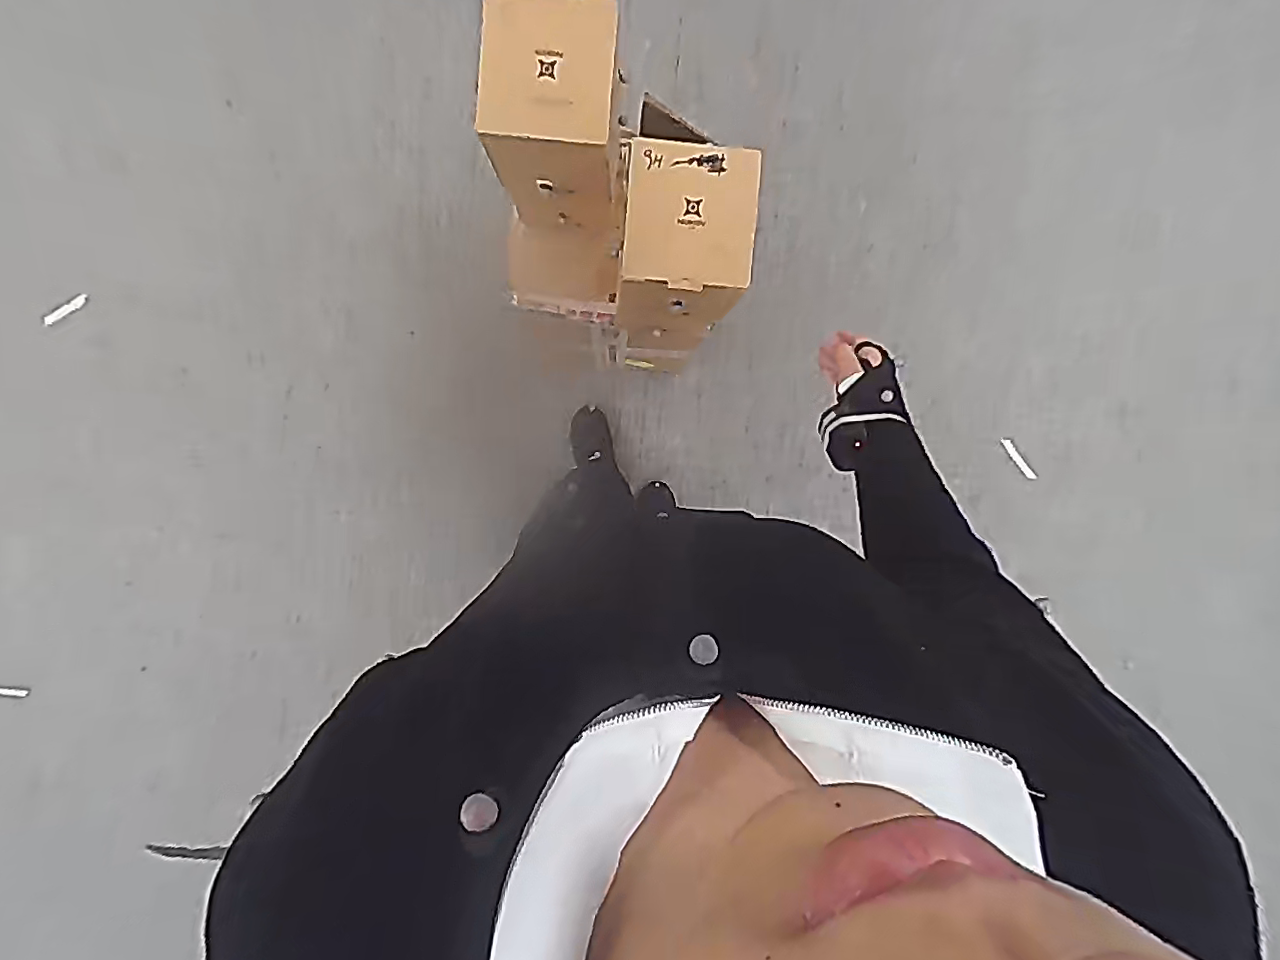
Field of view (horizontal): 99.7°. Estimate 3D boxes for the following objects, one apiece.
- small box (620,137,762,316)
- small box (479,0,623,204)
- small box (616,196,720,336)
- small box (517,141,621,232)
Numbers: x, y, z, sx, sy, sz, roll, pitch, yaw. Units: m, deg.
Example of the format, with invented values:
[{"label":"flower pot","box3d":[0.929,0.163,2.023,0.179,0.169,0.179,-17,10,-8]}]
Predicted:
[{"label":"small box","box3d":[0.061,-0.337,0.757,0.168,0.176,0.179,5,94,-3]},{"label":"small box","box3d":[-0.111,-0.509,0.740,0.168,0.176,0.179,4,95,-1]},{"label":"small box","box3d":[0.047,-0.354,0.919,0.168,0.176,0.179,3,95,-3]},{"label":"small box","box3d":[-0.120,-0.541,0.900,0.168,0.176,0.179,5,94,-2]}]
